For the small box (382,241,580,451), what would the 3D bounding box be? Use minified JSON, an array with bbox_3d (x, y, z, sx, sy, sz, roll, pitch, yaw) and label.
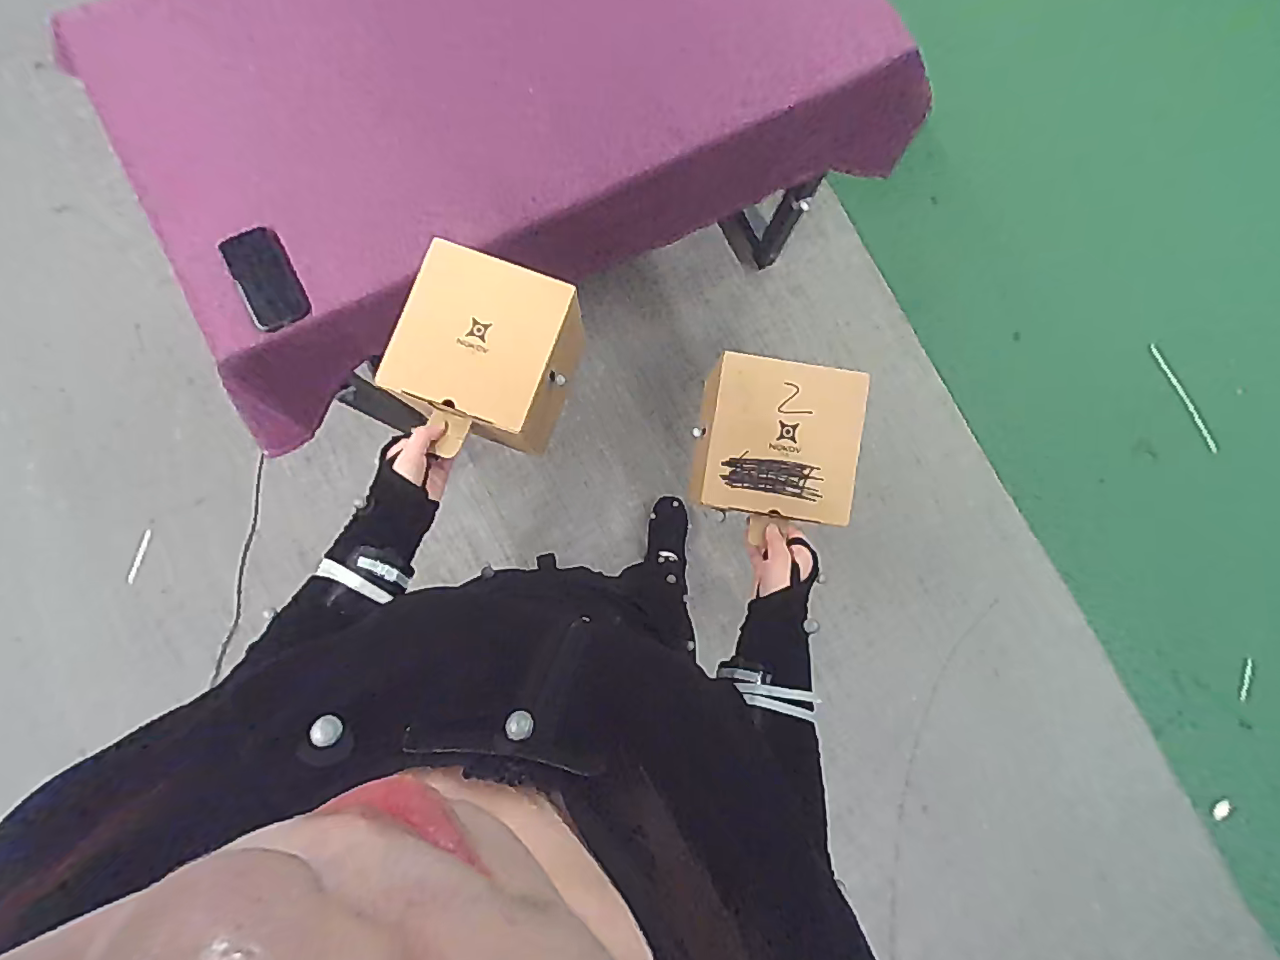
[{"bbox_3d":[-0.177,-0.150,0.666,0.168,0.176,0.179,18,84,0],"label":"small box"}]
